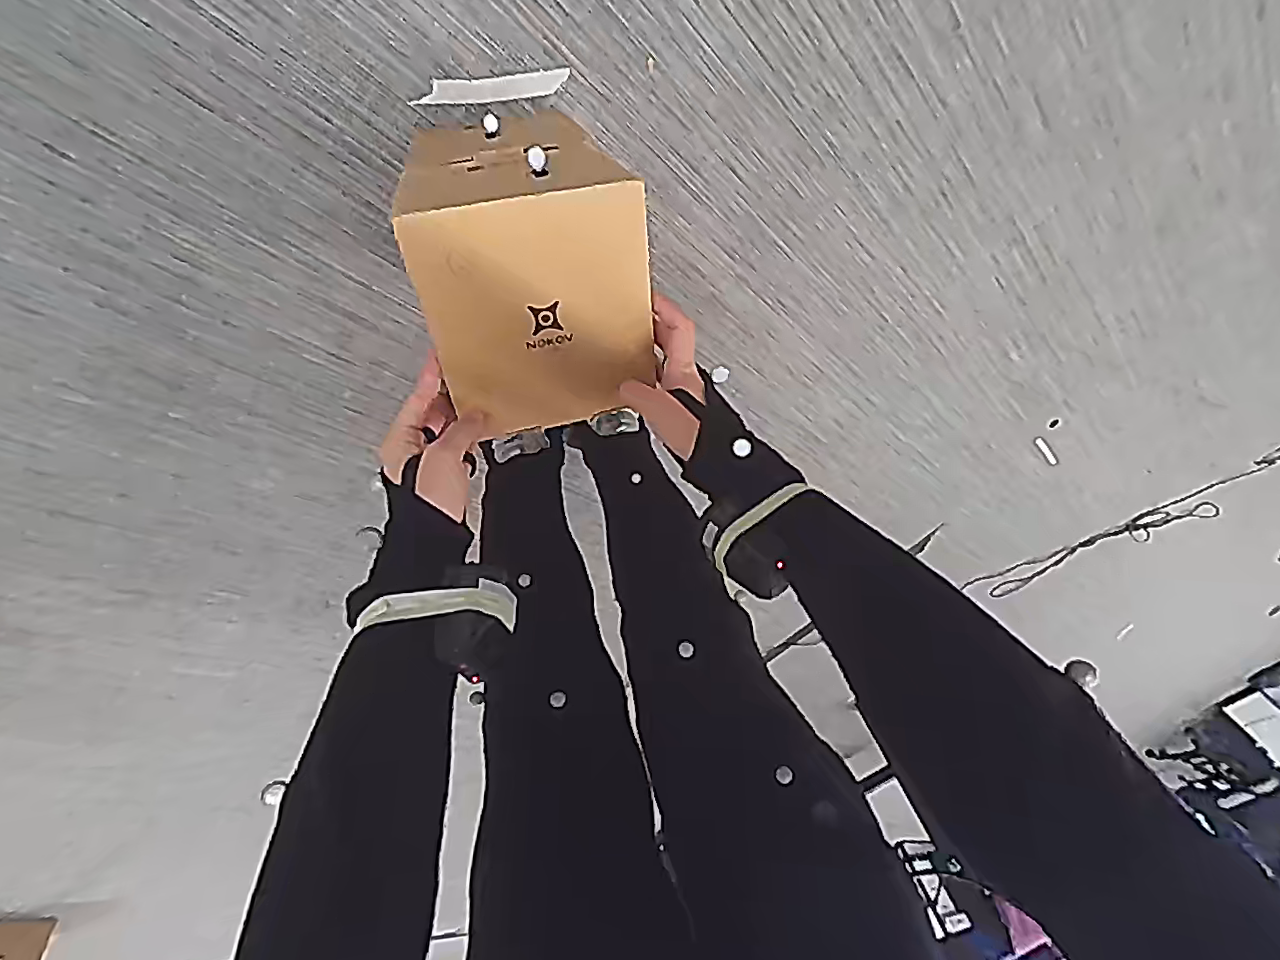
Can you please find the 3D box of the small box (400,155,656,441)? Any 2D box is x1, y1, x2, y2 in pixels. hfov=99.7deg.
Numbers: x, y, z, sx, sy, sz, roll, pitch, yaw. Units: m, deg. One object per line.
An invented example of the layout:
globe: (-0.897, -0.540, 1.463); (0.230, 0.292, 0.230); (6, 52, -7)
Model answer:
small box: (-0.092, -0.163, 0.460); (0.168, 0.176, 0.179); (-14, 131, -10)

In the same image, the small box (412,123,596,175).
small box: (-0.134, -0.271, 0.587); (0.168, 0.176, 0.179); (-14, 133, -8)
